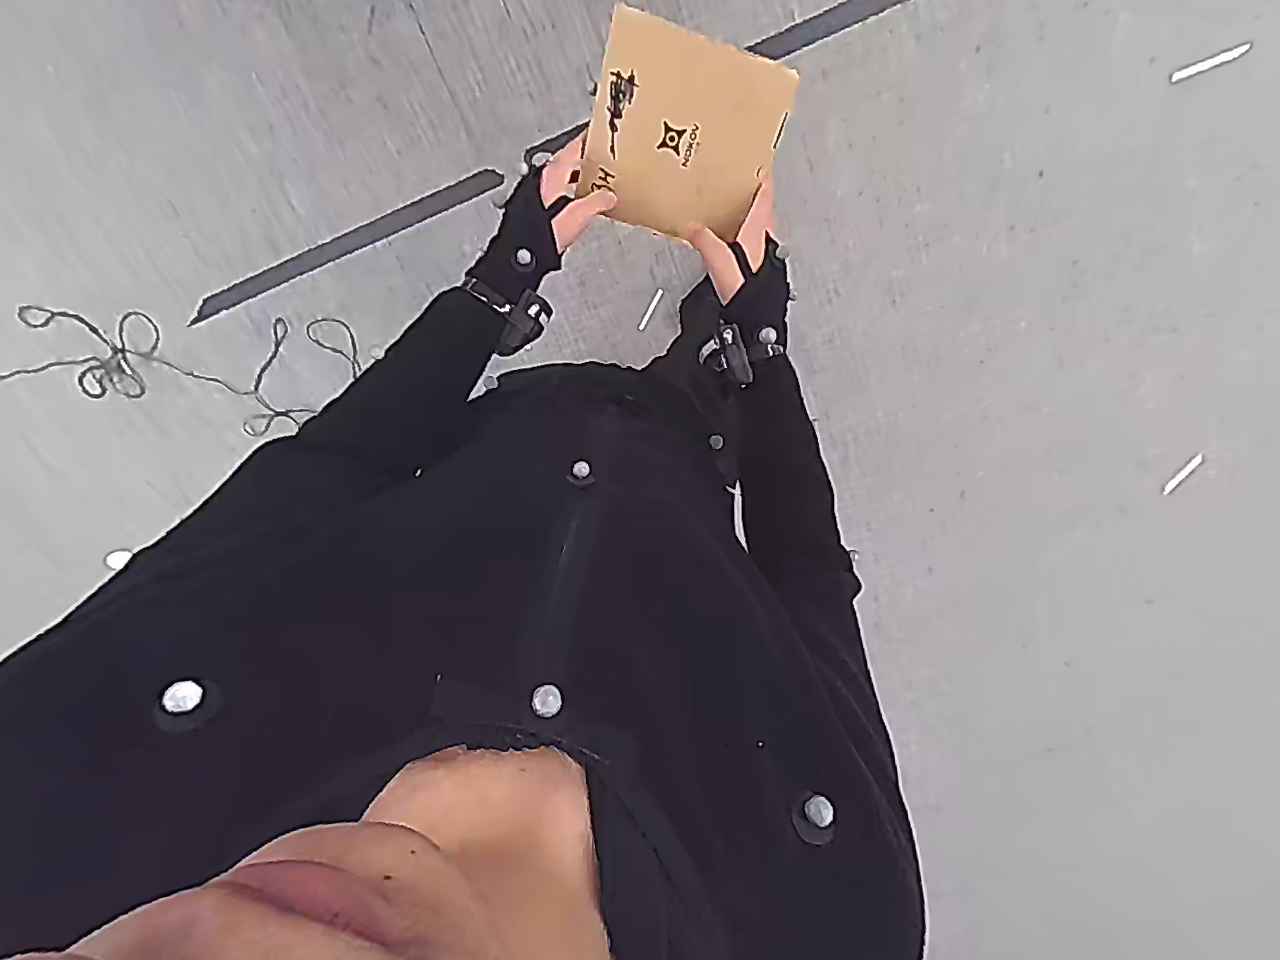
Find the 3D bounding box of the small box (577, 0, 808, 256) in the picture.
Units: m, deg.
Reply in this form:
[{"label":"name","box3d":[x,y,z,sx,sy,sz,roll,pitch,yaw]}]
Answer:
[{"label":"small box","box3d":[0.048,-0.362,0.573,0.179,0.176,0.168,17,122,-6]}]
